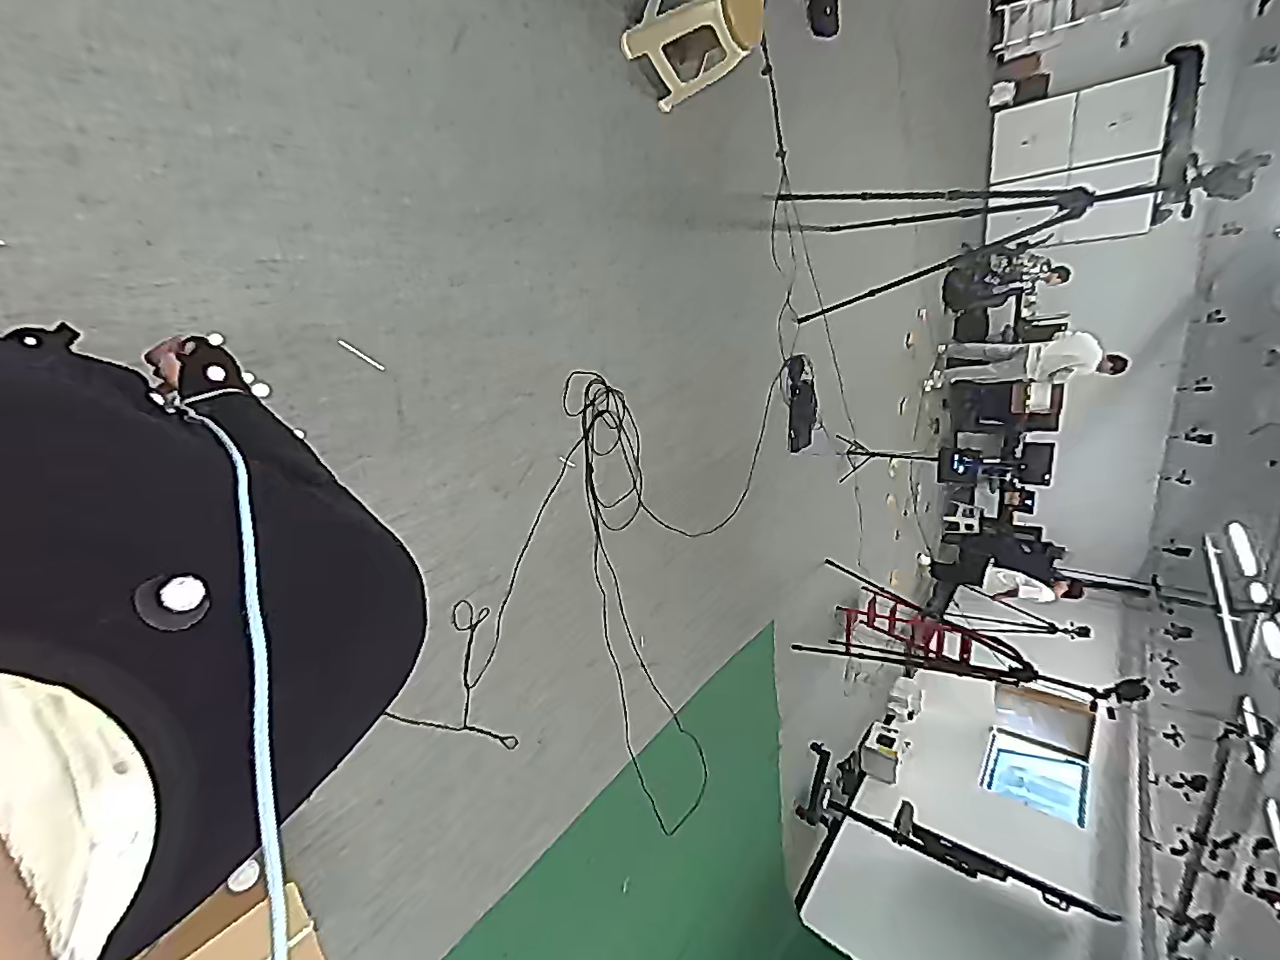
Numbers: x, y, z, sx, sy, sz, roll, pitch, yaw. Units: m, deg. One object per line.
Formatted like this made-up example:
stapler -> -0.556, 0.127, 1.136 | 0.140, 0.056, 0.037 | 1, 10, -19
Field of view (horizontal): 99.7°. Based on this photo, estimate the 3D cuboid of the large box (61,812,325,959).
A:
large box -> -1.072, 1.137, 1.321 | 0.408, 0.320, 0.320 | -24, 114, -44
